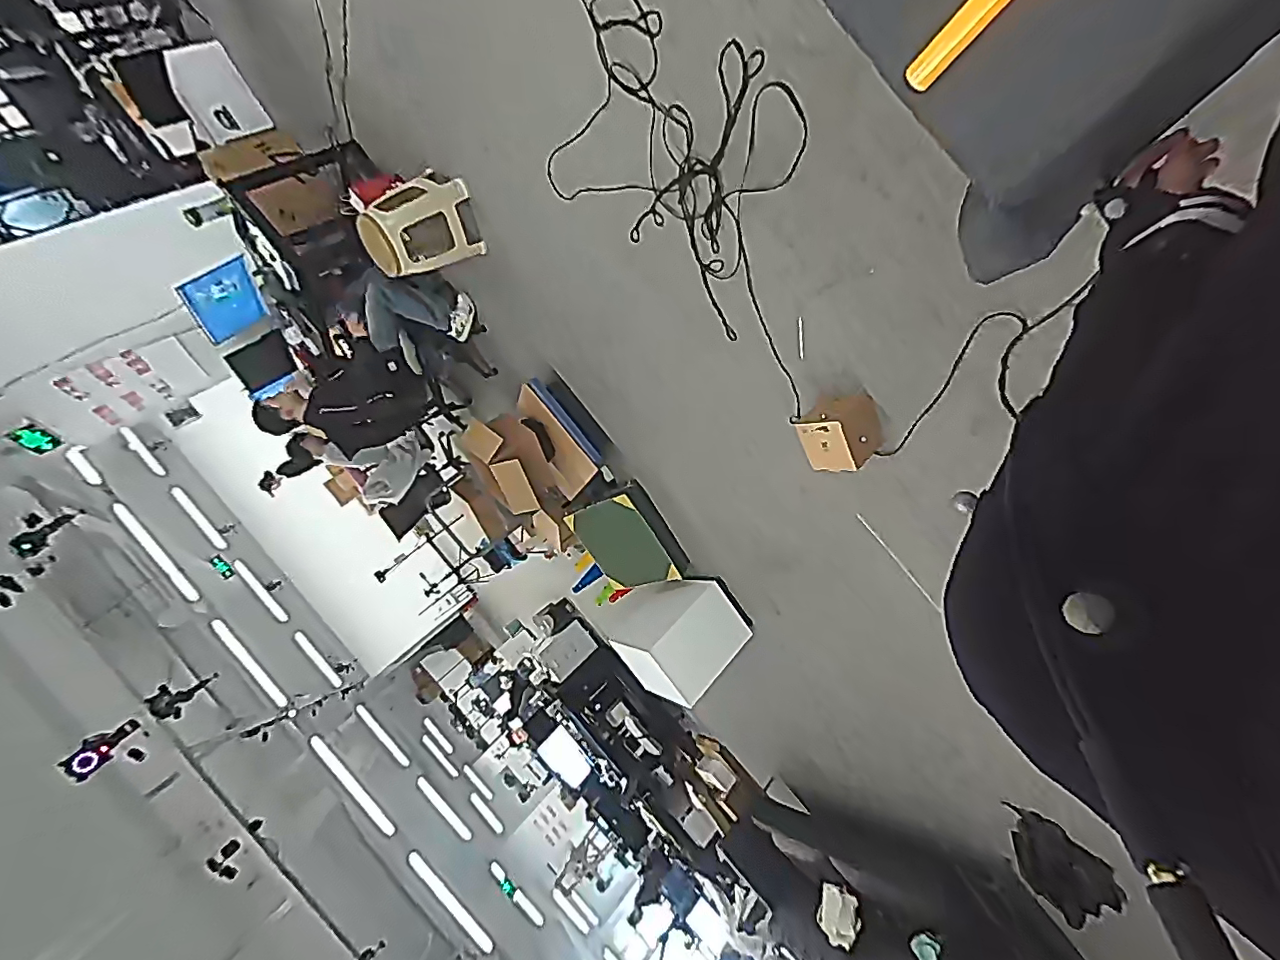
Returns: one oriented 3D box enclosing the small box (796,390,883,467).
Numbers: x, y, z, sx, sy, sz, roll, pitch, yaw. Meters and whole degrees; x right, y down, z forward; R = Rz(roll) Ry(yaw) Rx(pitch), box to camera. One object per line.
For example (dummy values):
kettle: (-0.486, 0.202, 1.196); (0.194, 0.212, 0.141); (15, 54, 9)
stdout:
small box: (0.626, -0.159, 1.683); (0.168, 0.176, 0.179); (4, 128, 56)
